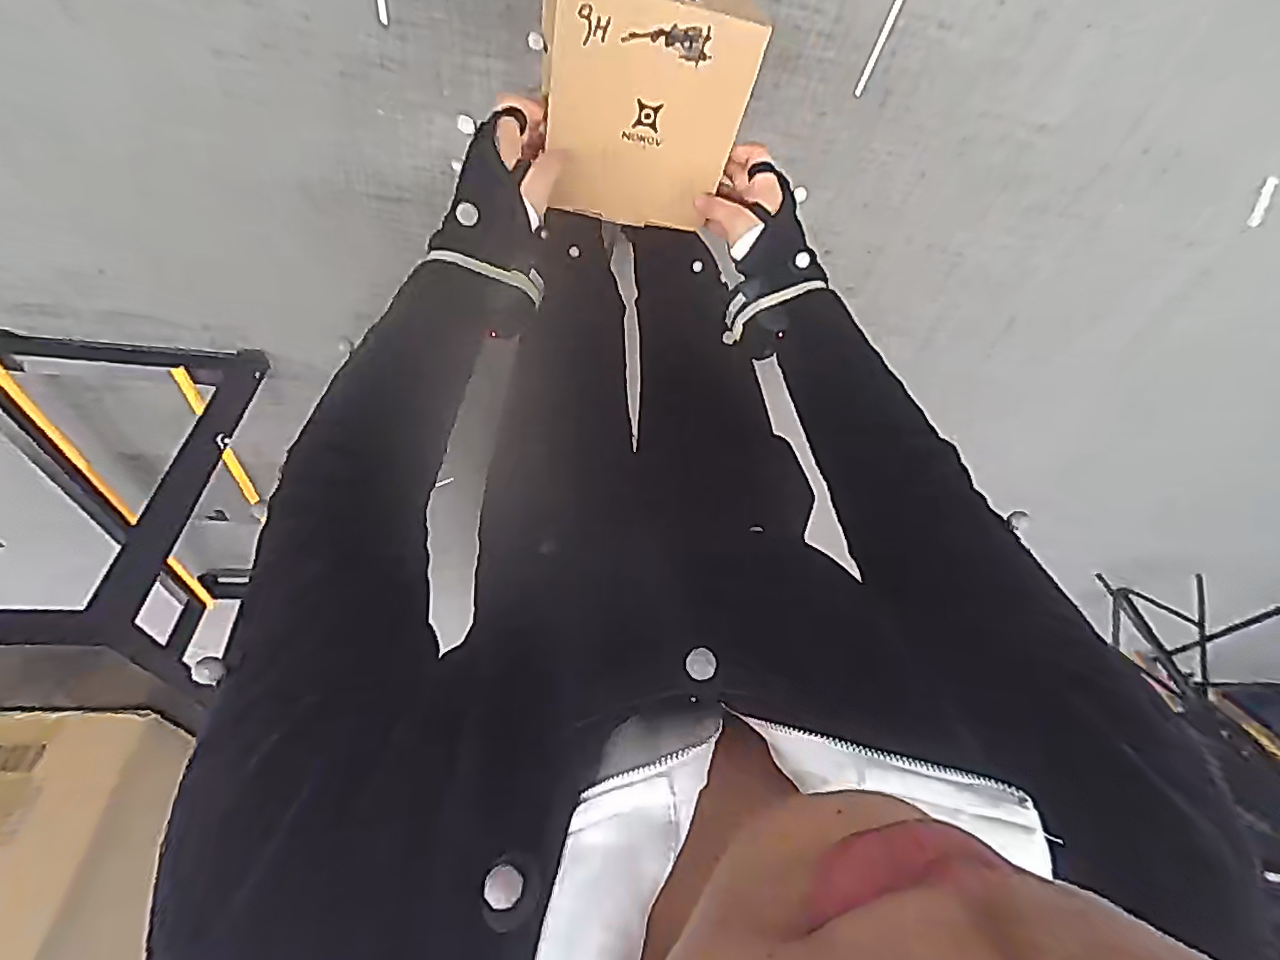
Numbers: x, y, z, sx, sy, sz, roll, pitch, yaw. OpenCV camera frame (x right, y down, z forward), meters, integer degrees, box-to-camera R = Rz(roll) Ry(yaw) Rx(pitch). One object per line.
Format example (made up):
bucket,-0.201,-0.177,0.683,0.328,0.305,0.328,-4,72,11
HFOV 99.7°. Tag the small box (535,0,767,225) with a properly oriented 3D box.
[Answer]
small box,-0.005,-0.378,0.502,0.168,0.176,0.179,3,148,-14
